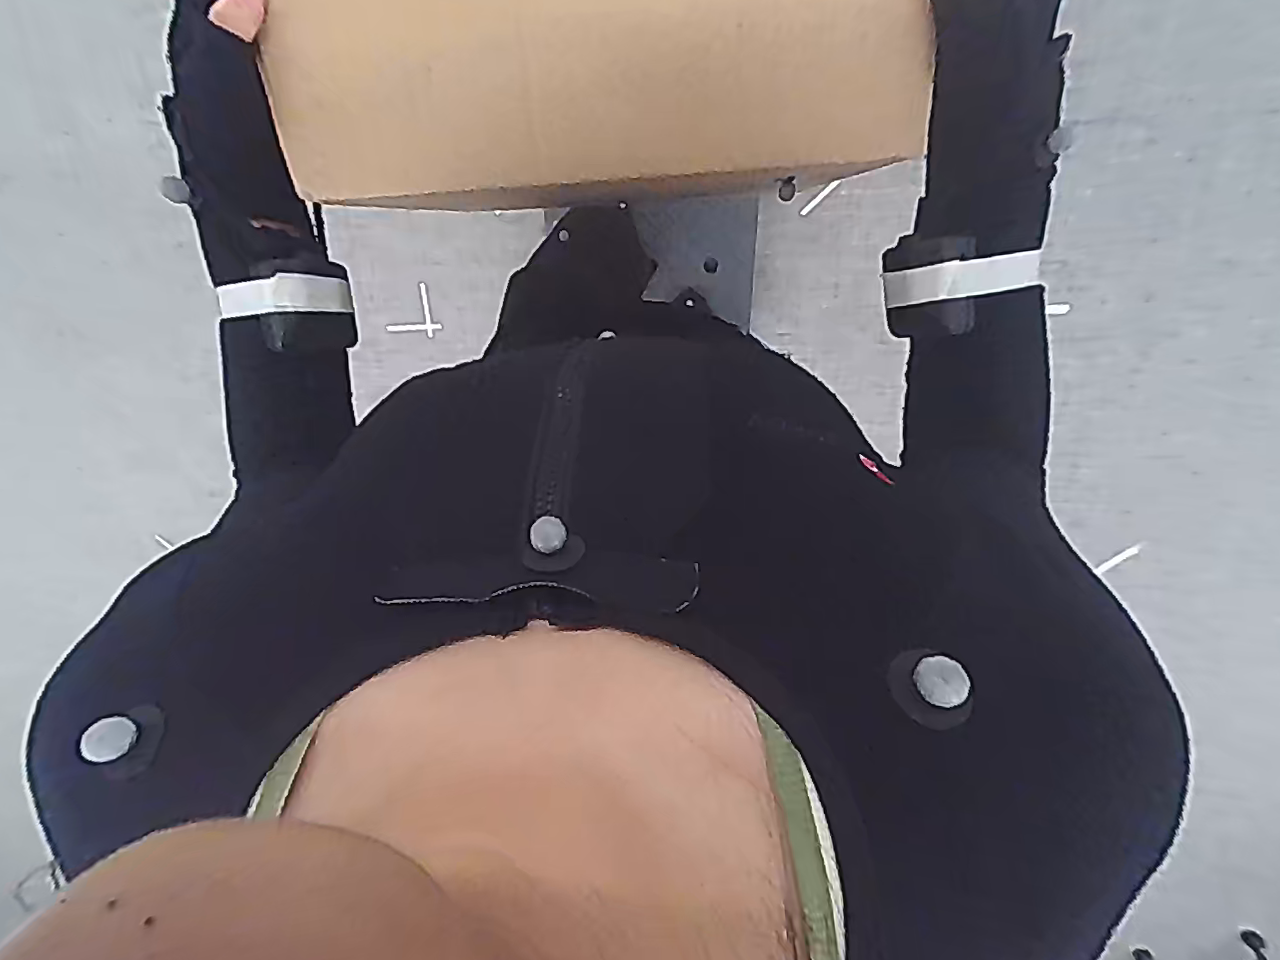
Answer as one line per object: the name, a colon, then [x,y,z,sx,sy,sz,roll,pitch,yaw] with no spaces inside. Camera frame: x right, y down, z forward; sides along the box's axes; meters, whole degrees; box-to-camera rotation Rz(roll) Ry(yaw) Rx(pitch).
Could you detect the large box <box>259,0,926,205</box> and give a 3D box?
large box: [-0.027,-0.406,0.429,0.408,0.320,0.320,-2,114,5]
